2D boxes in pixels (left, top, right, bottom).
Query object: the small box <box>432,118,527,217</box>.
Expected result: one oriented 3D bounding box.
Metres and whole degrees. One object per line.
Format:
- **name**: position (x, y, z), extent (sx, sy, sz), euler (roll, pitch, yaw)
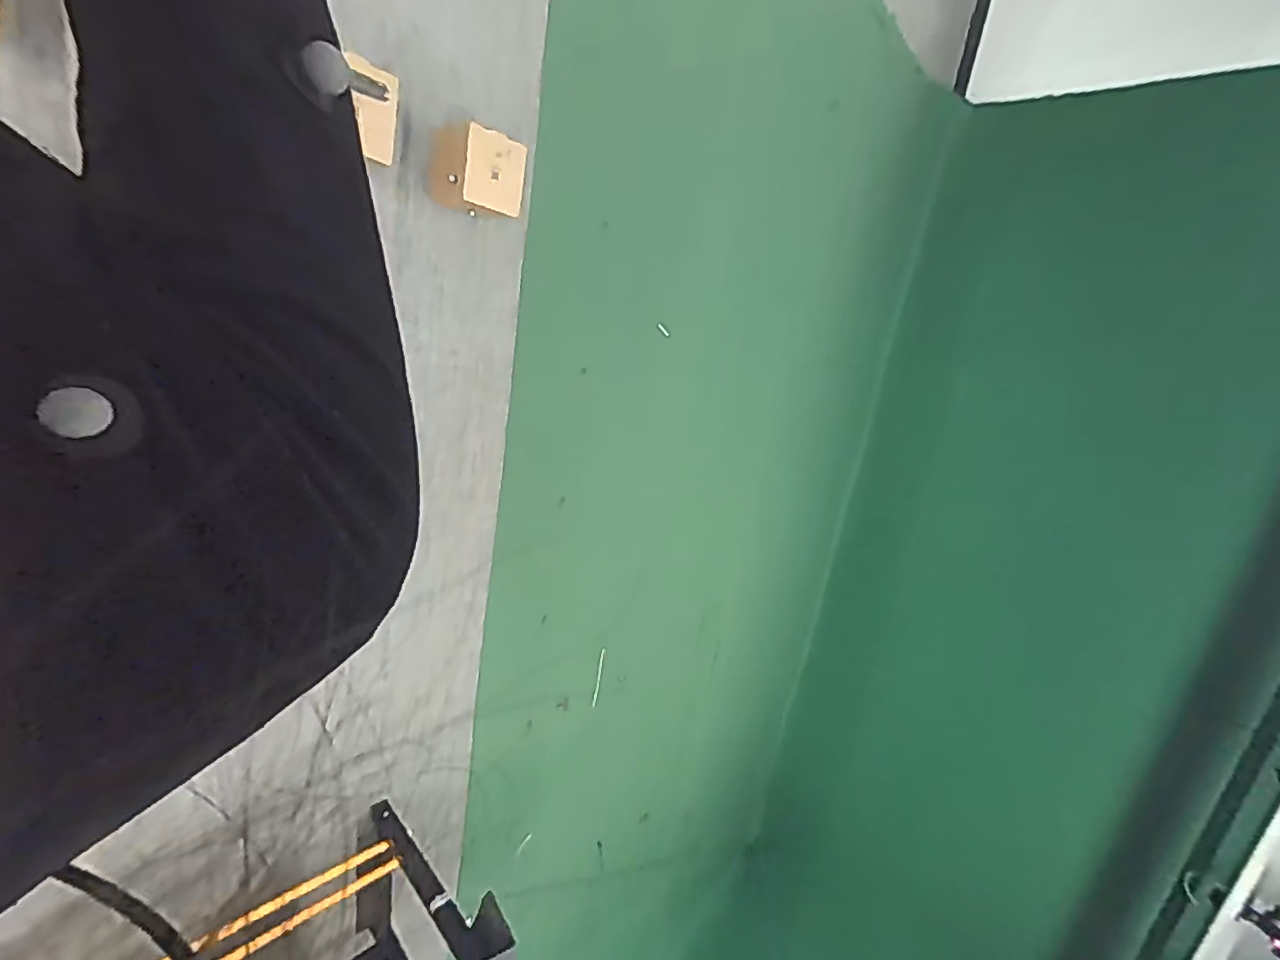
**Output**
- **small box**: position (-0.417, -0.796, 1.394), extent (0.168, 0.176, 0.179), euler (-6, 112, -48)
